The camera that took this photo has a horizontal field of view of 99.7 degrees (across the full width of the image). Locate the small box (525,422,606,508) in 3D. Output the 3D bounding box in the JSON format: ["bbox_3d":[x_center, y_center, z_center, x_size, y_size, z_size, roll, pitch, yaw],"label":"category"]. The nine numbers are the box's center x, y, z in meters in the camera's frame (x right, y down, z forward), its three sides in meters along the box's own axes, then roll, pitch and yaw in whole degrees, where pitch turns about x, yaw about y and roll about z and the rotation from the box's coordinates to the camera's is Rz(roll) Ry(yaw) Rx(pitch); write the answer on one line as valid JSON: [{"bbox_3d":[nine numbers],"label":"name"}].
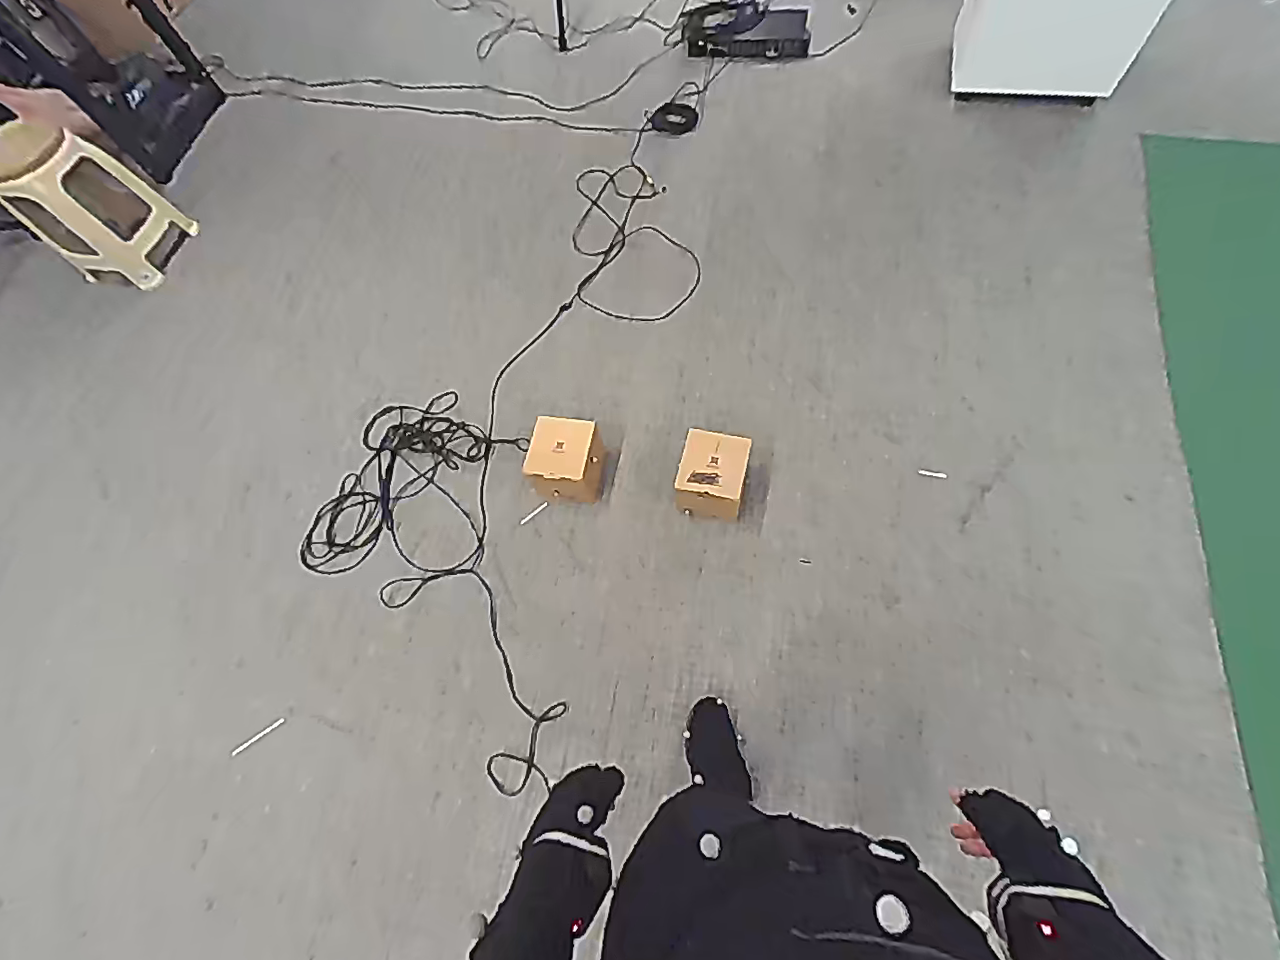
[{"bbox_3d":[-0.198,-0.040,1.505,0.168,0.176,0.179,7,68,11],"label":"small box"}]

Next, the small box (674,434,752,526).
[{"bbox_3d":[0.196,0.005,1.432,0.168,0.176,0.179,12,68,12],"label":"small box"}]
